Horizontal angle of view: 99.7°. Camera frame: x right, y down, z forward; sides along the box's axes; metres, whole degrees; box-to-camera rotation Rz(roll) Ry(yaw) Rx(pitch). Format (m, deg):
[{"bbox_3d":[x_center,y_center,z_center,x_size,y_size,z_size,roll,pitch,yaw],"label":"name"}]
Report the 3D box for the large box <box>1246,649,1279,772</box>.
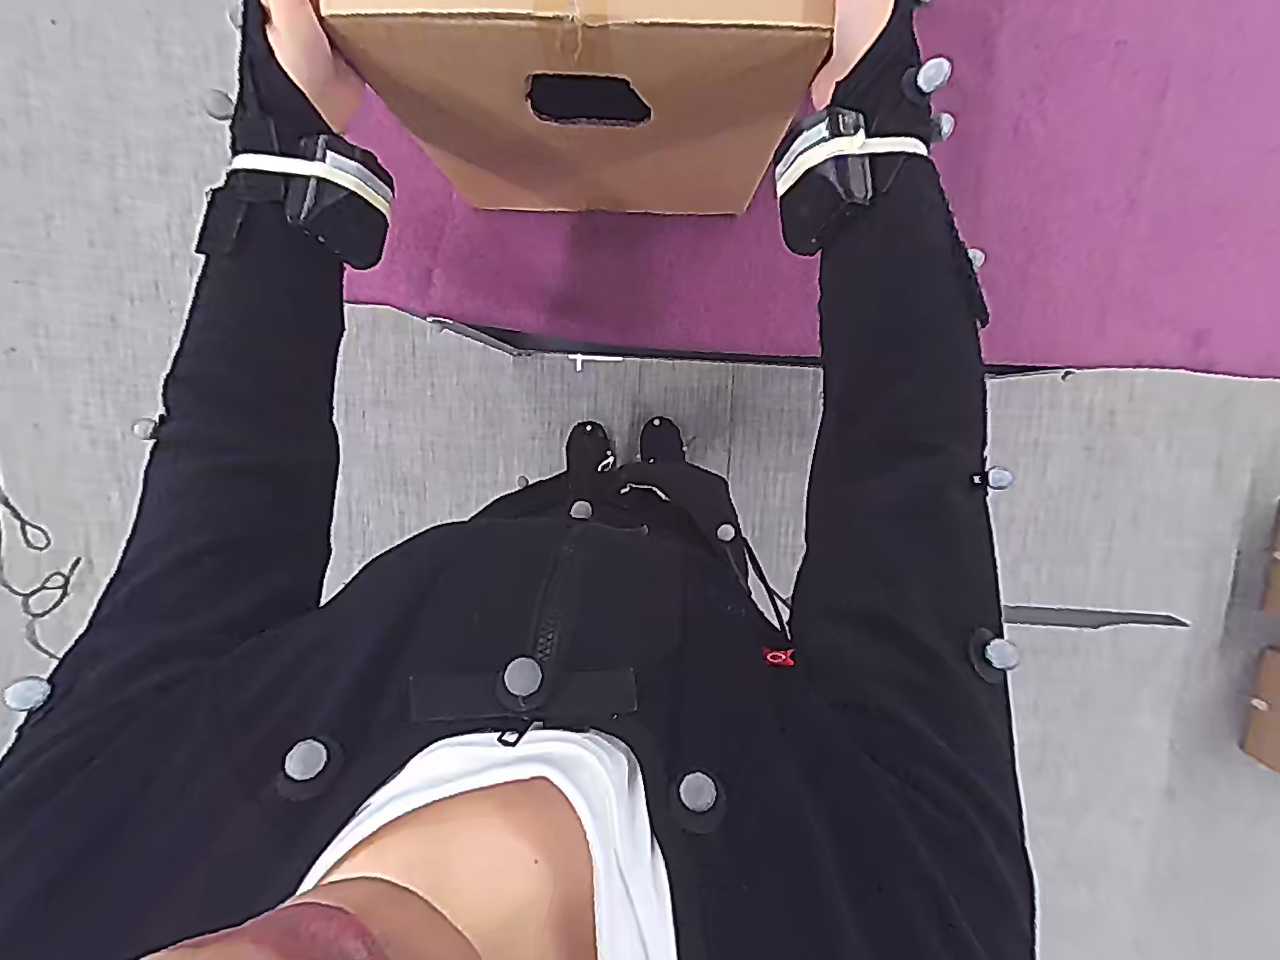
[{"bbox_3d":[1.833,0.614,1.288,0.408,0.320,0.320,2,97,1],"label":"large box"}]
